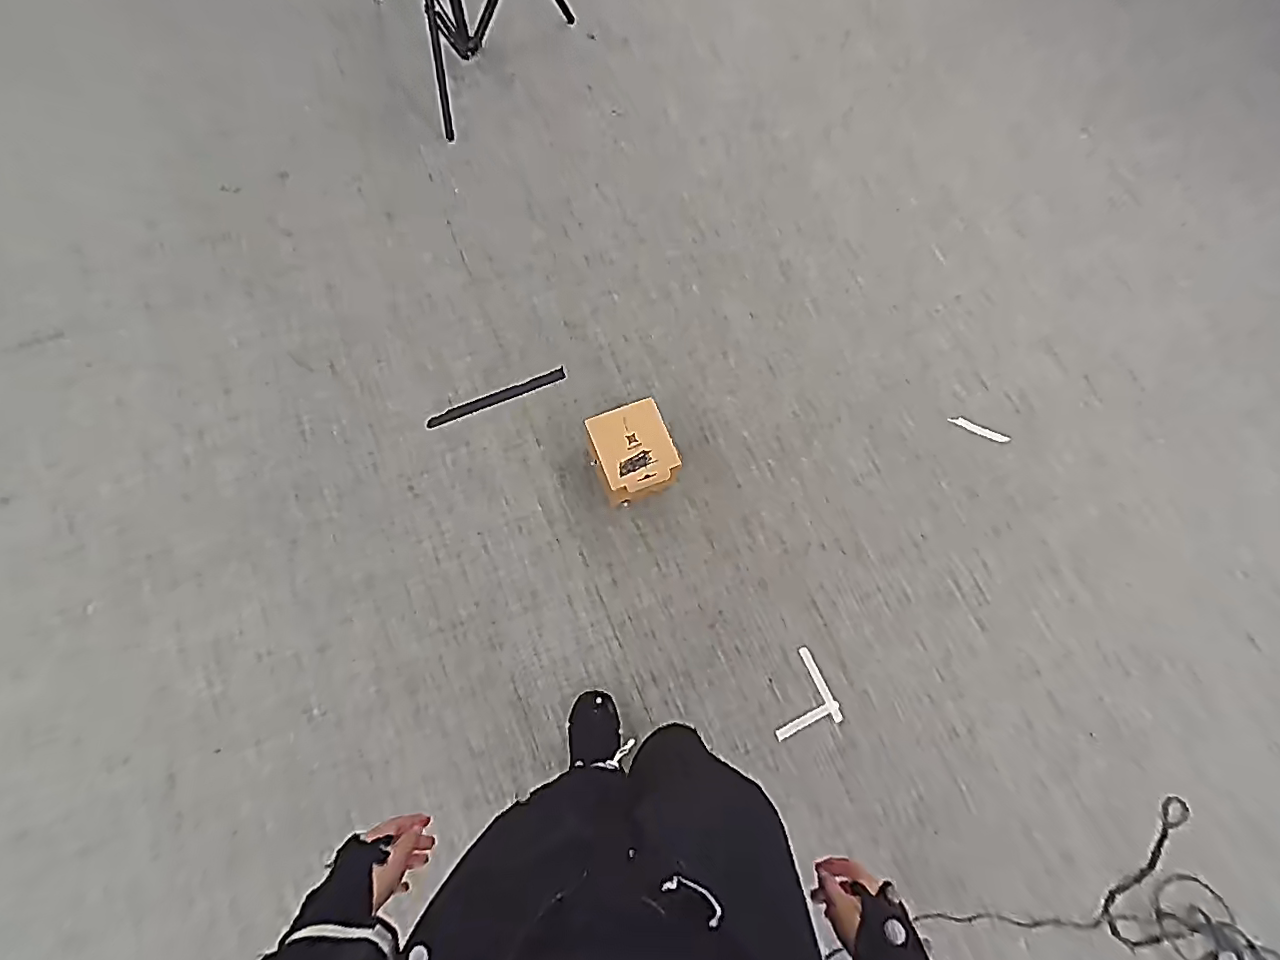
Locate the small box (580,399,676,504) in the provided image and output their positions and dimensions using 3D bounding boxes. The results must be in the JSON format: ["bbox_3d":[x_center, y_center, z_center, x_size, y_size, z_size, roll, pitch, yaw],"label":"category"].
[{"bbox_3d":[-0.030,-0.055,1.251,0.168,0.176,0.179,-21,77,-10],"label":"small box"}]
